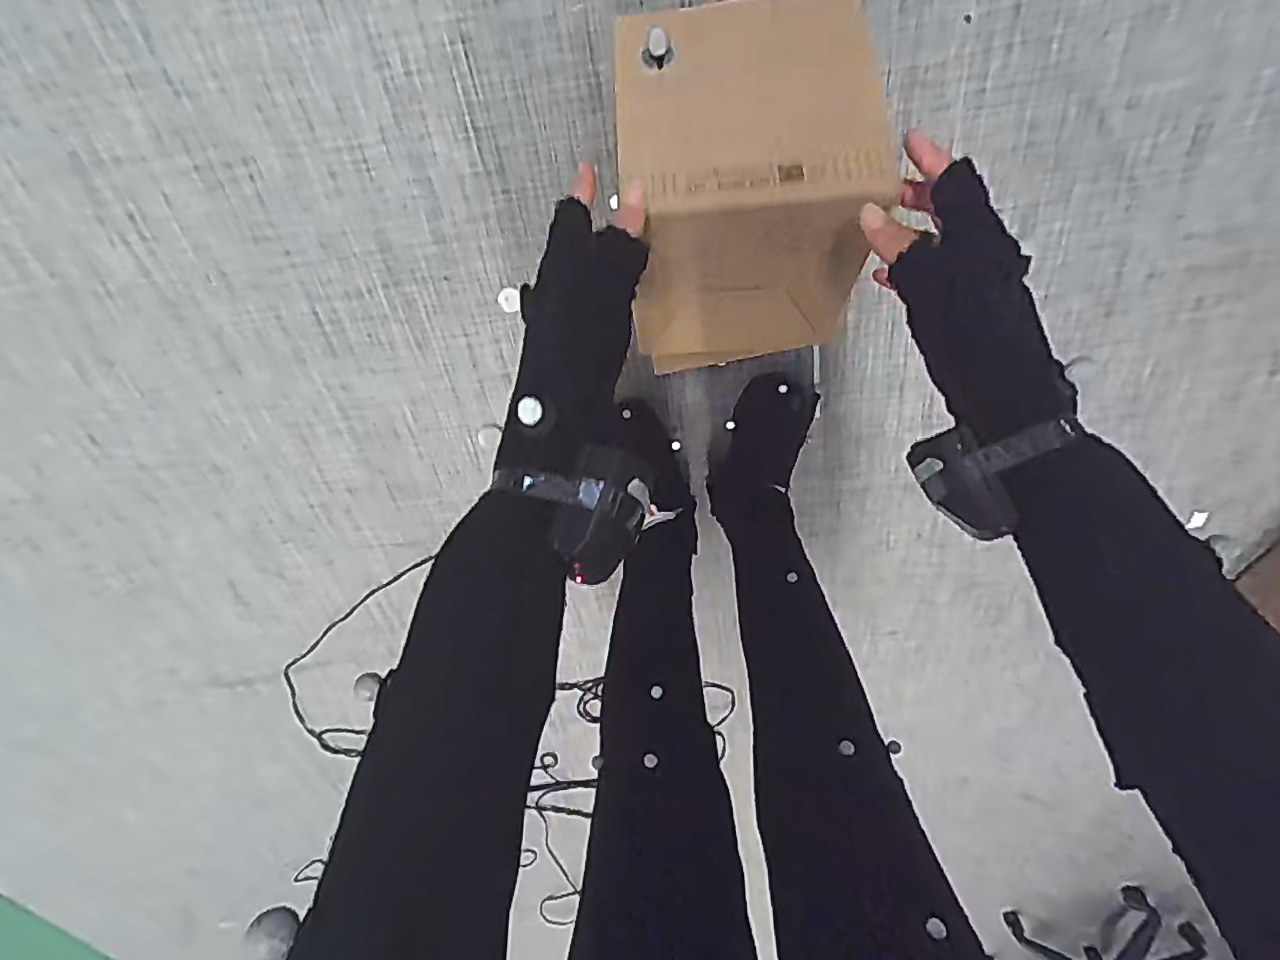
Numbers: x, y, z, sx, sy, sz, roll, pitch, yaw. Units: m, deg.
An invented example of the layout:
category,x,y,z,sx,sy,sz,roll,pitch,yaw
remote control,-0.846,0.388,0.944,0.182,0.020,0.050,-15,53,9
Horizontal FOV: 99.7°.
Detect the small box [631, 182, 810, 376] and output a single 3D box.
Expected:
category,x,y,z,sx,sy,sz,roll,pitch,yaw
small box,0.090,-0.243,0.639,0.179,0.176,0.168,-9,120,7
